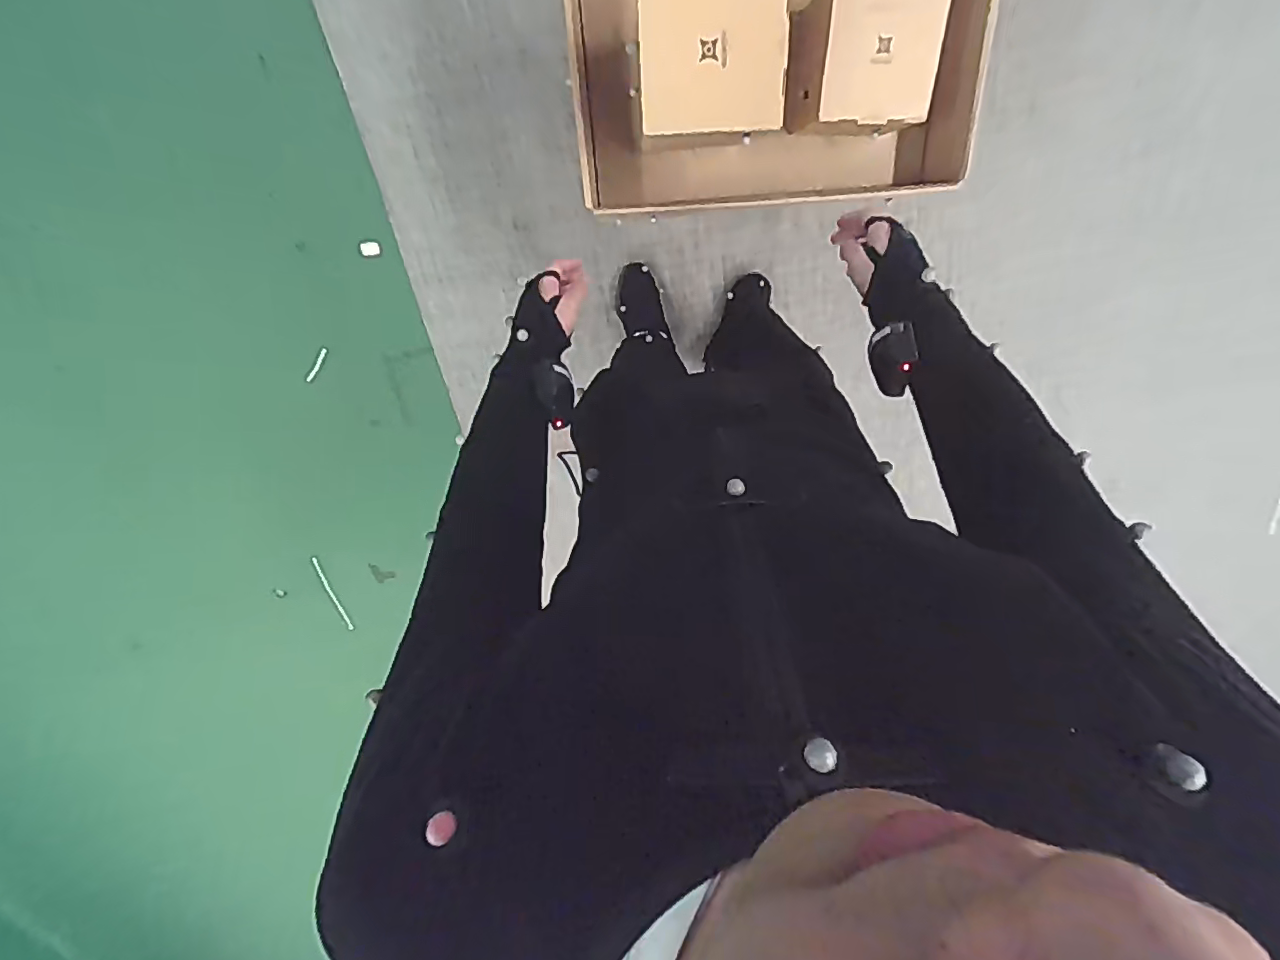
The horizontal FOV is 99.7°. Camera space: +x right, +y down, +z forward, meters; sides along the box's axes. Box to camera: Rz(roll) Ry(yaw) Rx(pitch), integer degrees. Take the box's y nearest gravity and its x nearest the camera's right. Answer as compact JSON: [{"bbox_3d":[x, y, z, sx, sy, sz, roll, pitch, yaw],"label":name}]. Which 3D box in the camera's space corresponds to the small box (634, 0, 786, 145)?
[{"bbox_3d":[0.084,-0.548,0.709,0.179,0.176,0.168,-3,117,2],"label":"small box"}]
